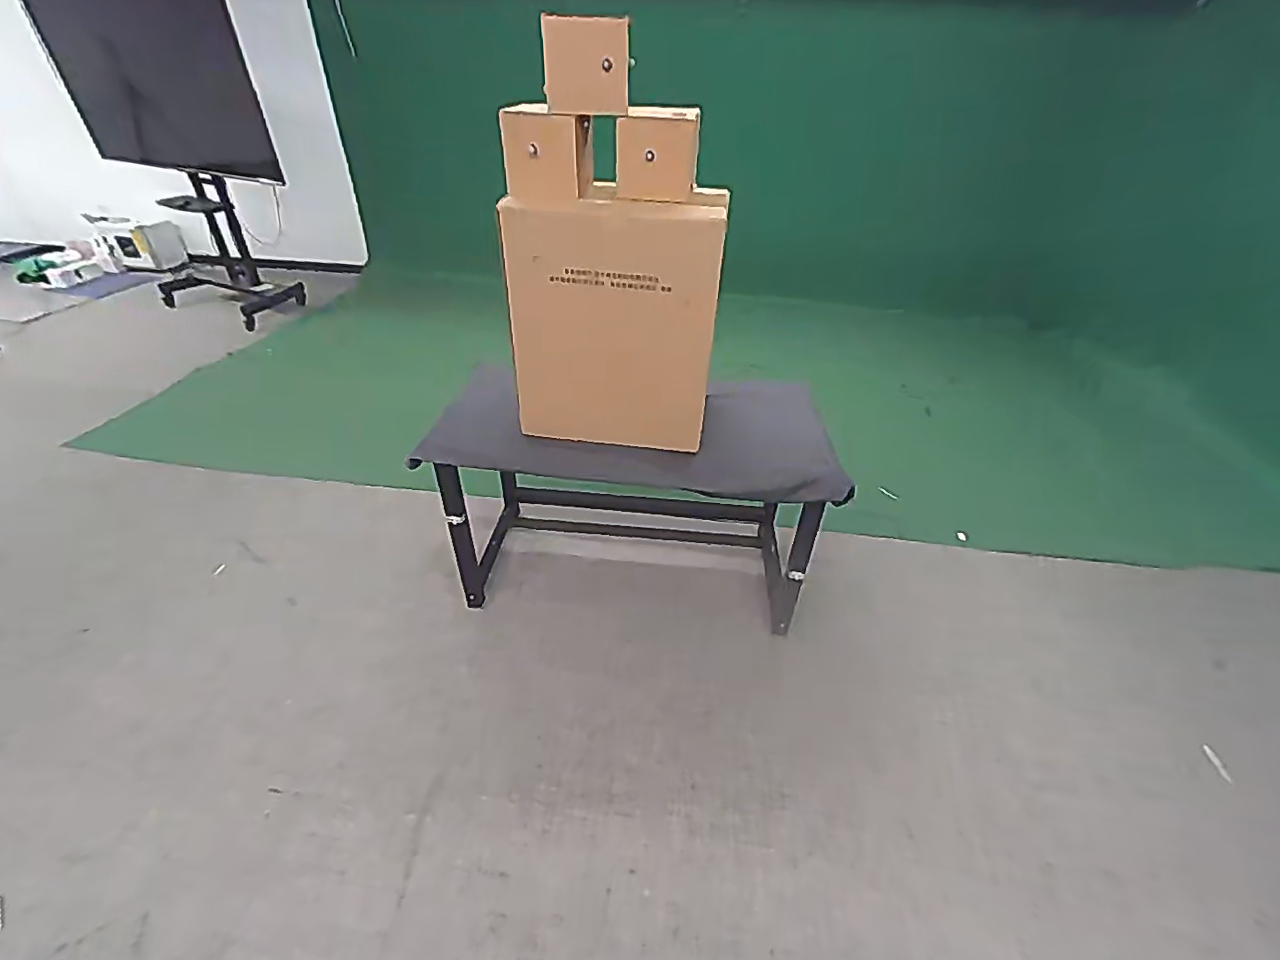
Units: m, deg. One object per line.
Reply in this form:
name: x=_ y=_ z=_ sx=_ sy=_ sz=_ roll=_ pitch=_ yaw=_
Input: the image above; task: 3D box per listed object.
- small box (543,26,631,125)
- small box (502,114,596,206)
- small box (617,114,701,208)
small box: x=-0.110 y=-0.892 z=1.195 sx=0.179 sy=0.176 sz=0.168 roll=-1 pitch=38 yaw=-1
small box: x=-0.211 y=-0.772 z=1.304 sx=0.179 sy=0.176 sz=0.168 roll=7 pitch=41 yaw=7
small box: x=0.047 y=-0.761 z=1.294 sx=0.179 sy=0.176 sz=0.168 roll=6 pitch=41 yaw=8
